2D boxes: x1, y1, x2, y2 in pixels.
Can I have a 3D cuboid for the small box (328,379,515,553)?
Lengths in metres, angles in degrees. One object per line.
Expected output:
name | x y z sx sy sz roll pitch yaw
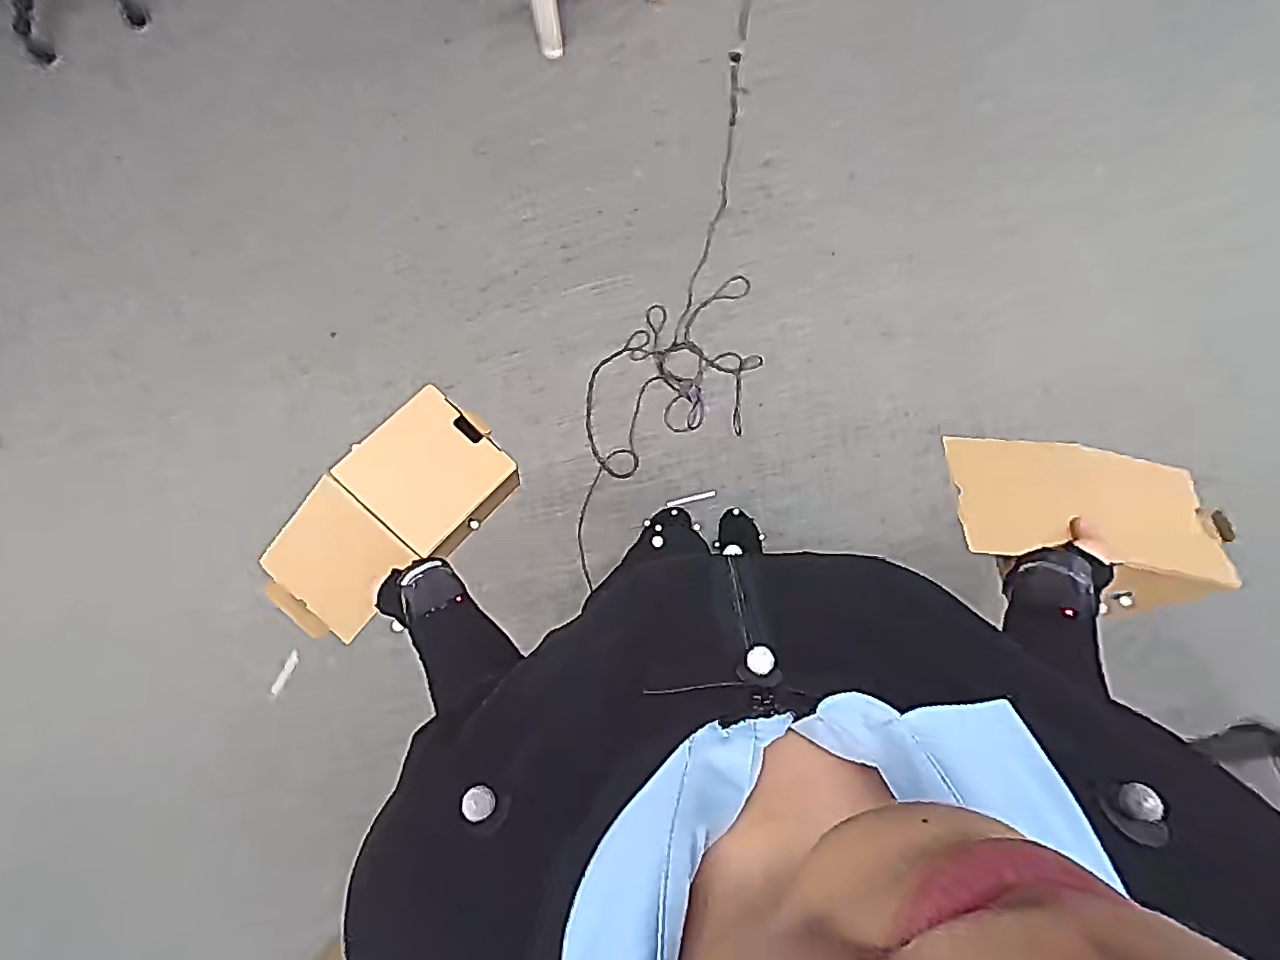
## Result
small box | -0.295 -0.009 0.779 0.168 0.176 0.179 45 75 -3
